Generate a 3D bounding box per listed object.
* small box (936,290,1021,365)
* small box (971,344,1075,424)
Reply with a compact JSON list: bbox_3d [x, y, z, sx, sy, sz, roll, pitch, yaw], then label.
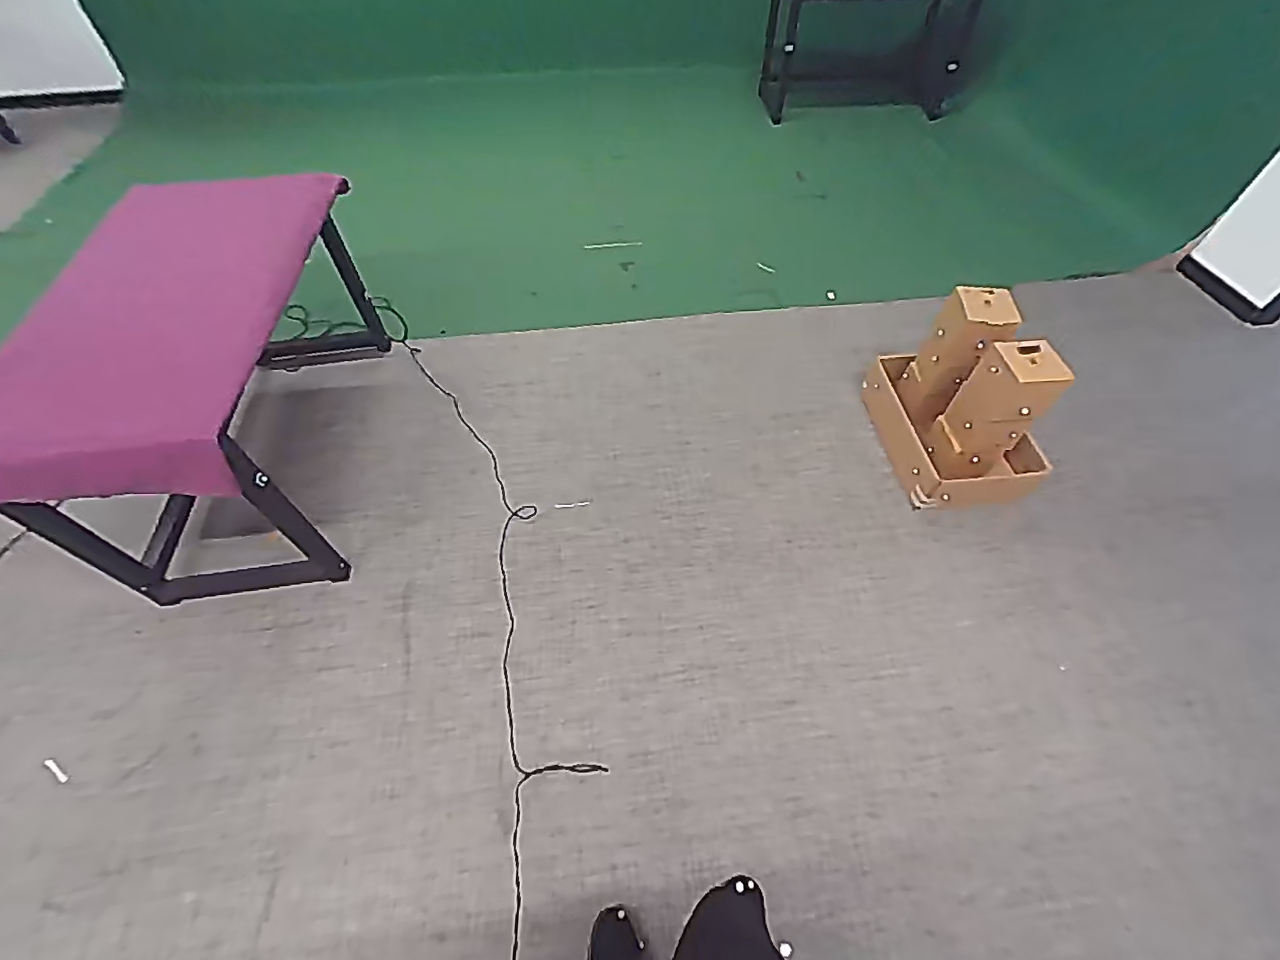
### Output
[{"bbox_3d":[1.115,-0.503,1.797,0.168,0.176,0.179,5,56,4],"label":"small box"},{"bbox_3d":[1.152,-0.291,1.645,0.168,0.176,0.179,-4,54,-2],"label":"small box"}]
